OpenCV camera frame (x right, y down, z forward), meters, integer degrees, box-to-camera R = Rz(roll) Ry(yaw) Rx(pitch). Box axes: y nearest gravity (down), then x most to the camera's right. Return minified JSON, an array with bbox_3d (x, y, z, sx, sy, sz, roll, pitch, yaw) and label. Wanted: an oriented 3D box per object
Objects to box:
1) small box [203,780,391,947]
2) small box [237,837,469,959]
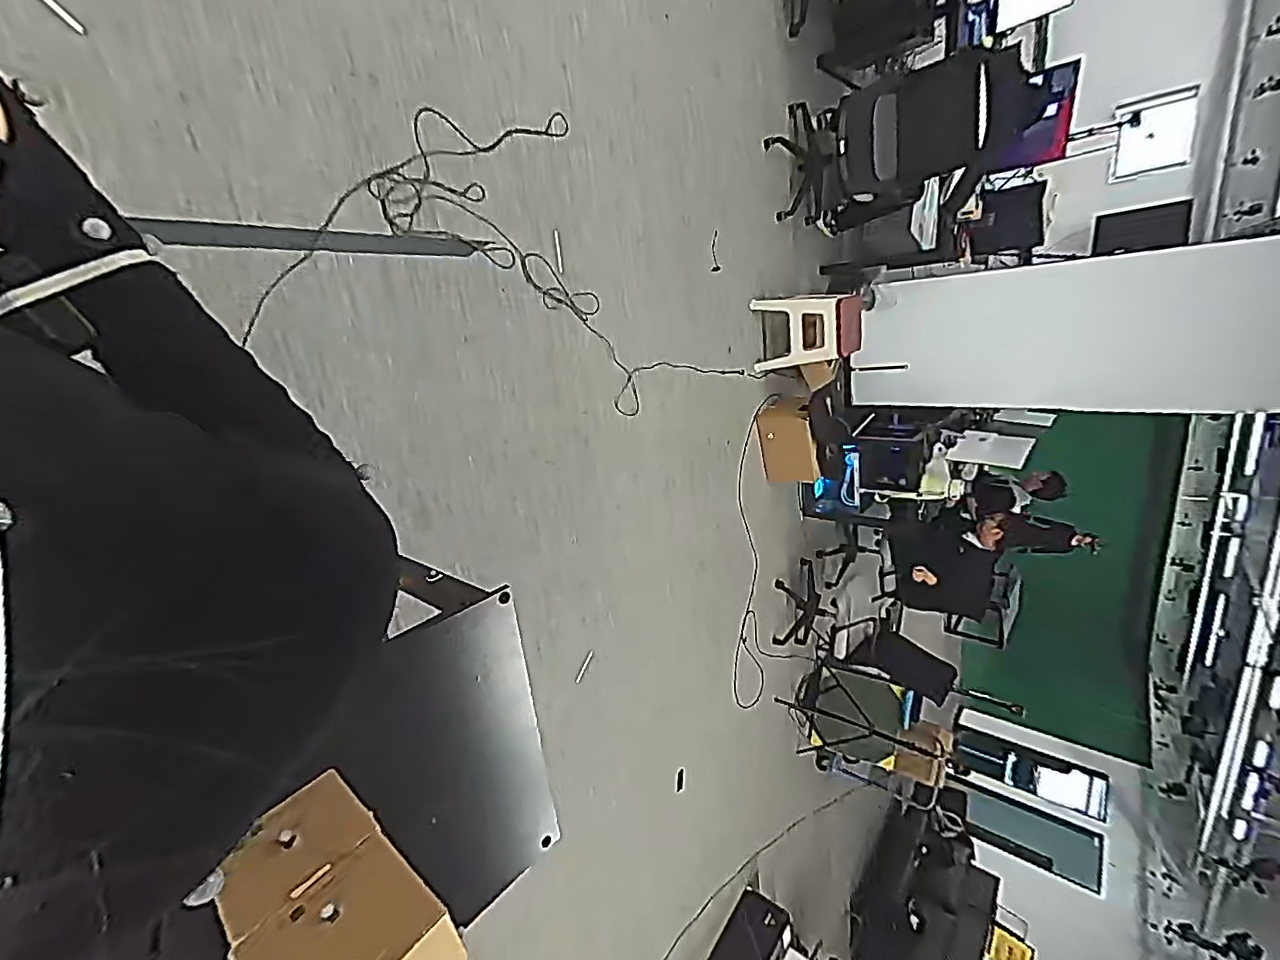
[{"bbox_3d":[-0.431,0.532,0.709,0.168,0.176,0.179,-29,117,-43],"label":"small box"},{"bbox_3d":[-0.305,0.553,0.602,0.168,0.176,0.179,-31,118,-43],"label":"small box"}]
